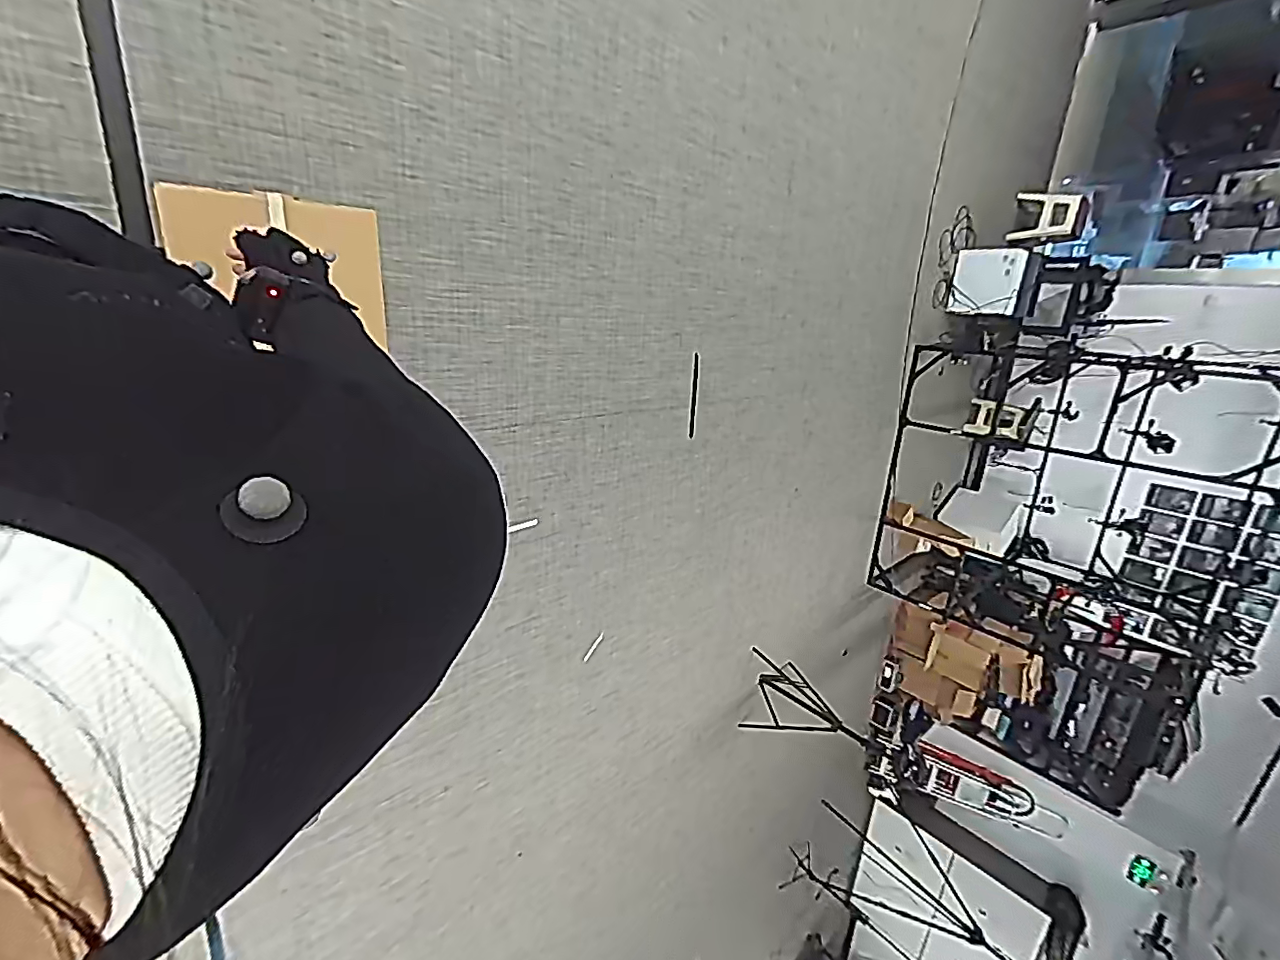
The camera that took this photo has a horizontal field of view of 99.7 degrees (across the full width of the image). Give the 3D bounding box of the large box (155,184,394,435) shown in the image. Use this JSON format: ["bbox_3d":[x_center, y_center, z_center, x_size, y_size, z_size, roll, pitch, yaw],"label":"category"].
[{"bbox_3d":[-0.711,-0.333,1.078,0.320,0.320,0.408,-10,114,-35],"label":"large box"}]
